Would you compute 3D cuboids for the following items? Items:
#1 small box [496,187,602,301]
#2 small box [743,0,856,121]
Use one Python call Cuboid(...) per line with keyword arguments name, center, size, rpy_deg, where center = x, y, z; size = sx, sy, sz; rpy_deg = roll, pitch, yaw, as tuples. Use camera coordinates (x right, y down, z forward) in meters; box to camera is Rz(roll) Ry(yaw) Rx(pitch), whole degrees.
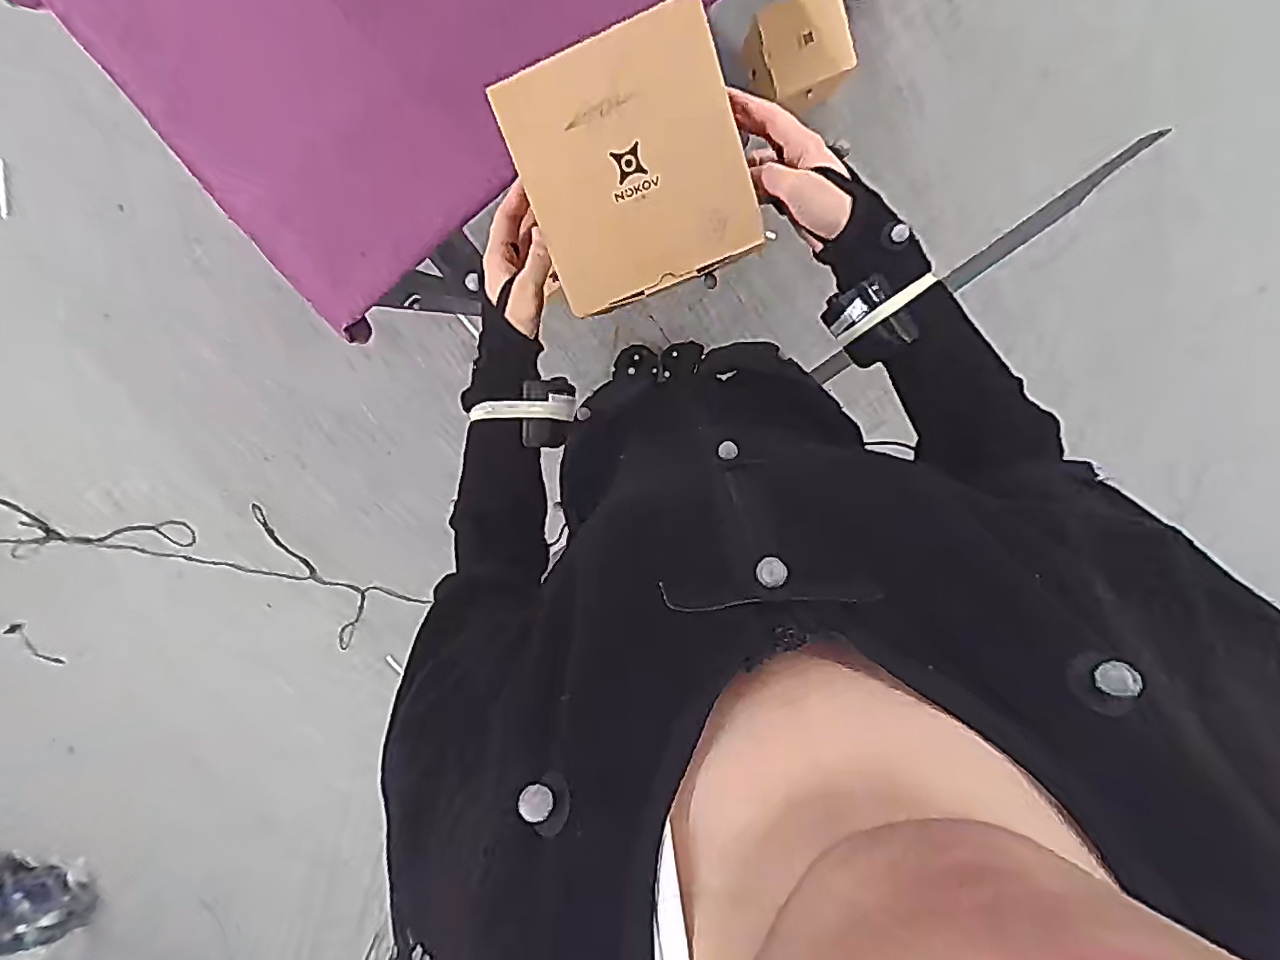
Cuboid(name="small box", center=(-0.207, -0.549, 1.287), size=(0.168, 0.176, 0.179), rpy_deg=(-35, 101, 9))
Cuboid(name="small box", center=(0.340, -0.926, 1.178), size=(0.179, 0.176, 0.168), rpy_deg=(-20, 105, 7))
